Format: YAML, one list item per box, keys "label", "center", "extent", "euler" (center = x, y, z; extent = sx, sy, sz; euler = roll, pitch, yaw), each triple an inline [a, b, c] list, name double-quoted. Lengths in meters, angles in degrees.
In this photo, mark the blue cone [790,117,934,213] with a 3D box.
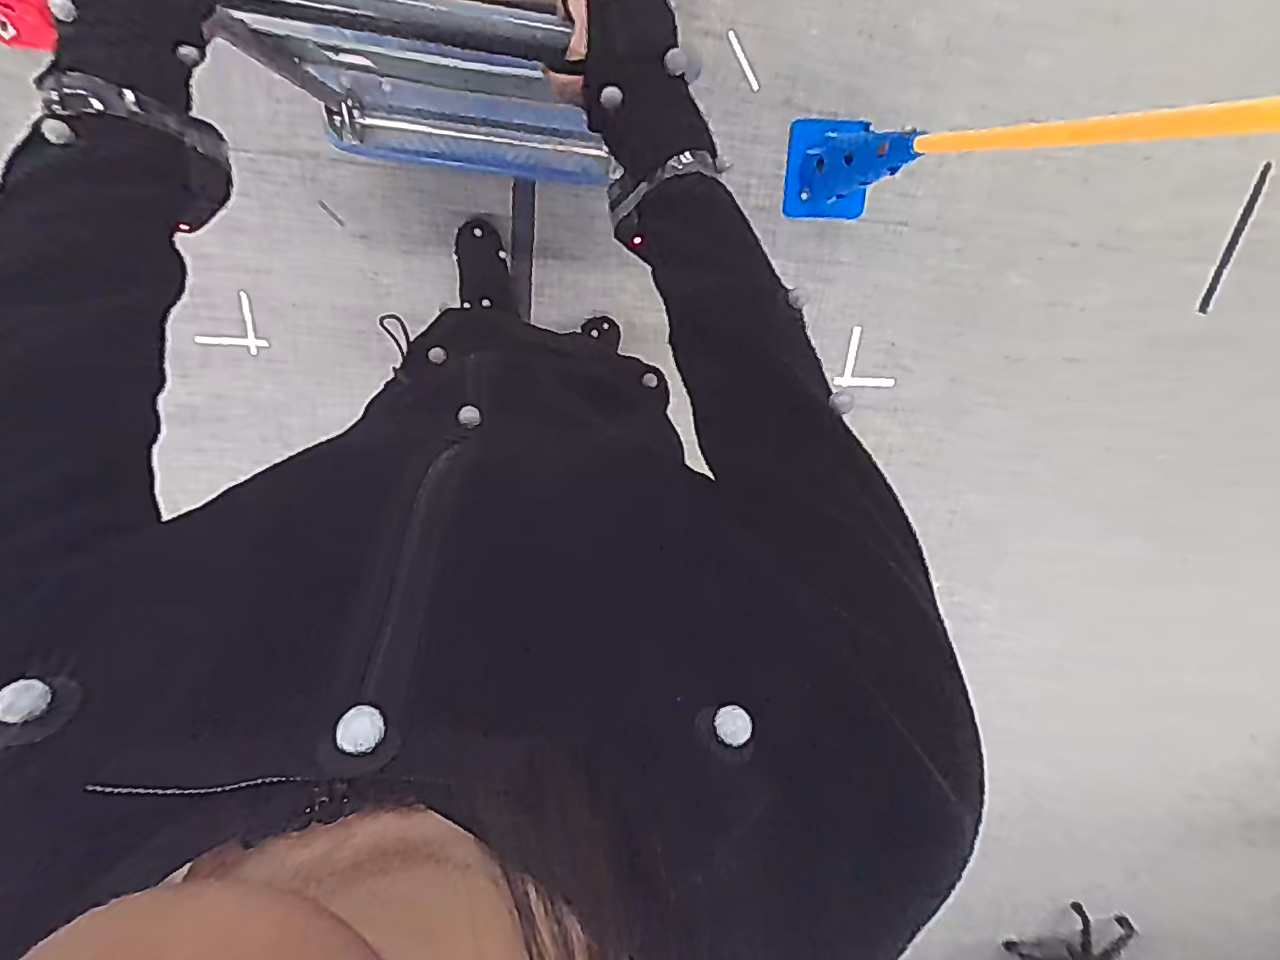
- label: "blue cone"
  center: [0.458, -0.655, 1.087]
  extent: [0.193, 0.380, 0.192]
  euler: [-1, 113, -7]
